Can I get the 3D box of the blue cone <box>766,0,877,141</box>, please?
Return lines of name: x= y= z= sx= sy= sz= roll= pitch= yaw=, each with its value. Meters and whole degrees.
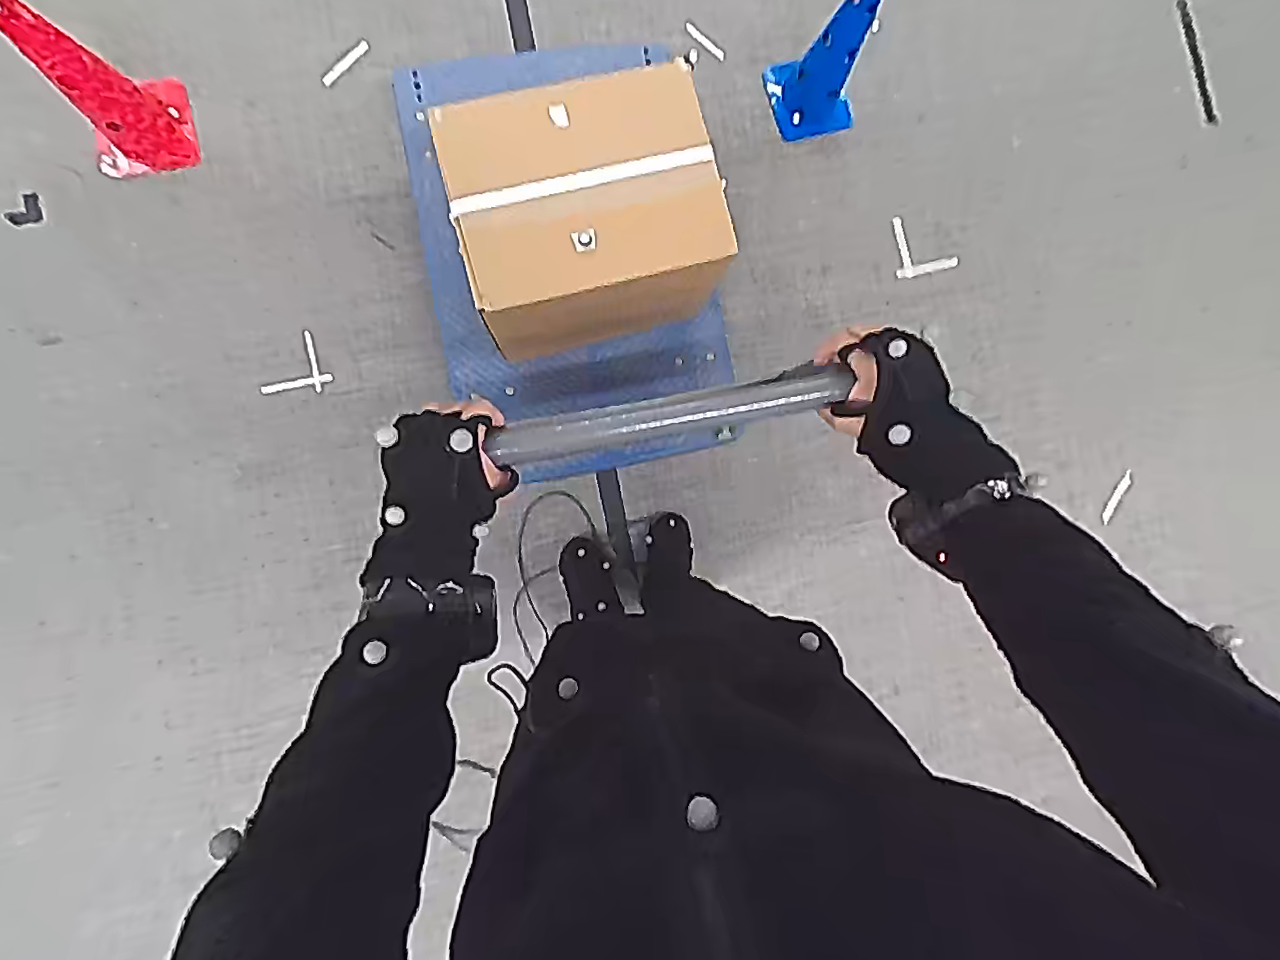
blue cone: x=0.447 y=-0.975 z=1.216 sx=0.193 sy=0.380 sz=0.192 roll=-16 pitch=88 yaw=-7
